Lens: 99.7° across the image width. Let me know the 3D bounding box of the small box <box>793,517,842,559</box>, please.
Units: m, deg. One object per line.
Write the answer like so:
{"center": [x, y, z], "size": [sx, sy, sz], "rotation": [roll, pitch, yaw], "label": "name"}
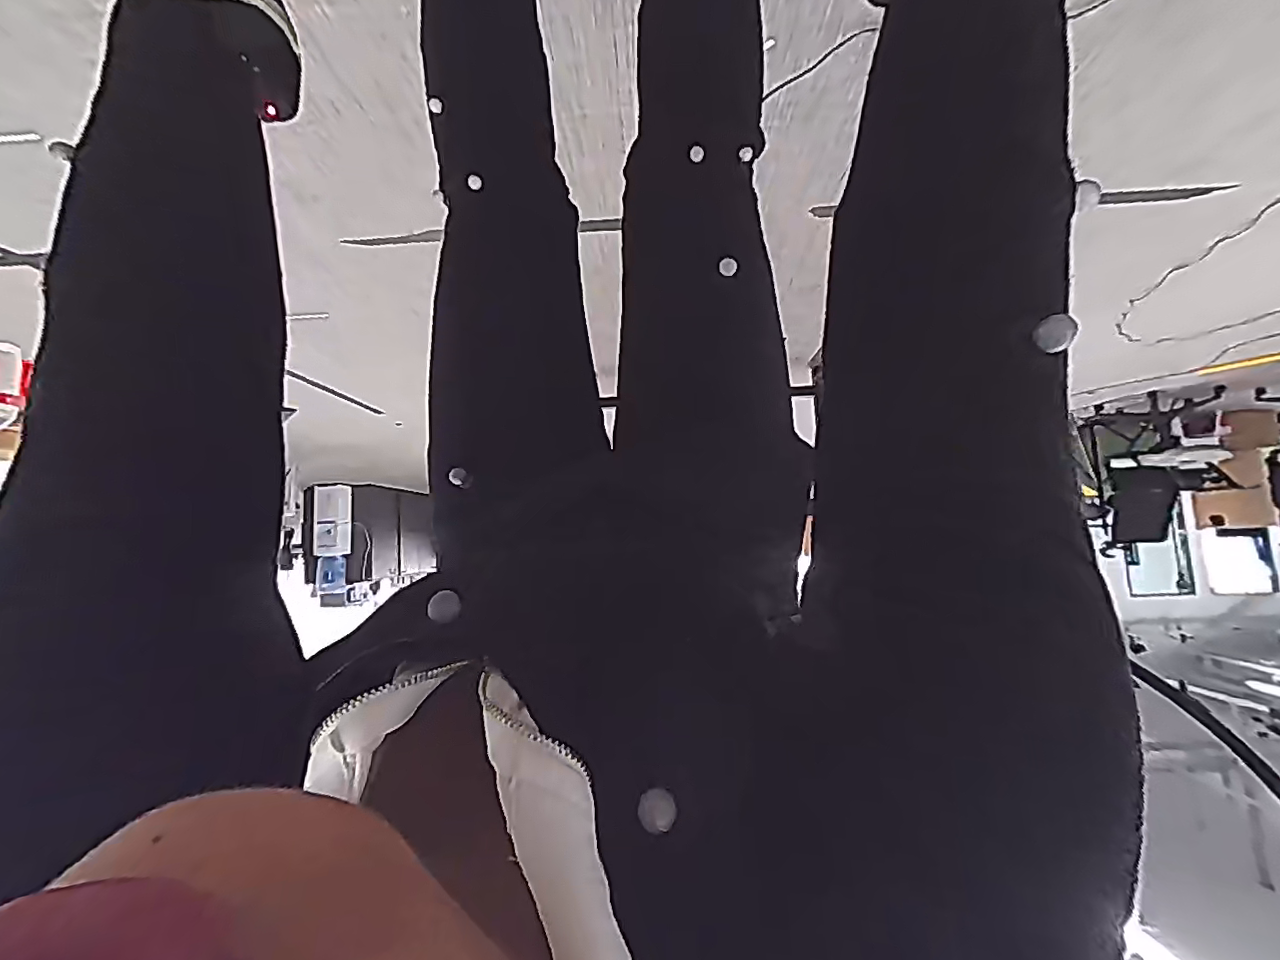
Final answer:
{"center": [0.751, 0.246, 2.308], "size": [0.168, 0.176, 0.179], "rotation": [-2, 175, 6], "label": "small box"}
